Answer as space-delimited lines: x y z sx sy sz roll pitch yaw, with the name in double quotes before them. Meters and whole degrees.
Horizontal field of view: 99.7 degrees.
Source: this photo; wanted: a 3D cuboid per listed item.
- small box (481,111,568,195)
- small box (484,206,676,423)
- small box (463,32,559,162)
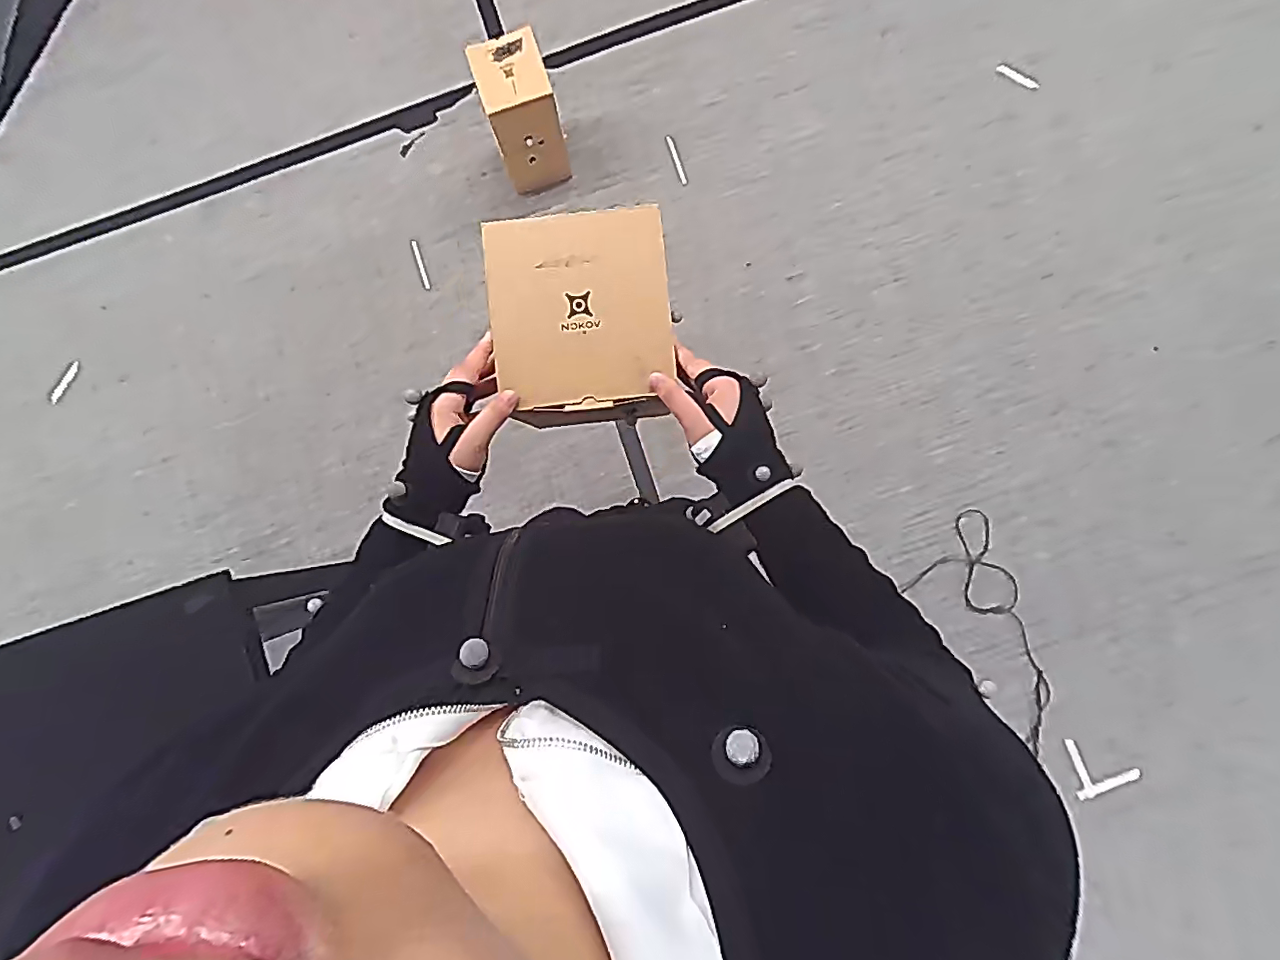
"small box" -0.313 -0.929 1.497 0.179 0.176 0.168 -19 87 -1
"small box" -0.054 -0.156 0.571 0.168 0.176 0.179 -6 90 -1
"small box" -0.310 -0.935 1.332 0.168 0.176 0.179 -19 87 -1
